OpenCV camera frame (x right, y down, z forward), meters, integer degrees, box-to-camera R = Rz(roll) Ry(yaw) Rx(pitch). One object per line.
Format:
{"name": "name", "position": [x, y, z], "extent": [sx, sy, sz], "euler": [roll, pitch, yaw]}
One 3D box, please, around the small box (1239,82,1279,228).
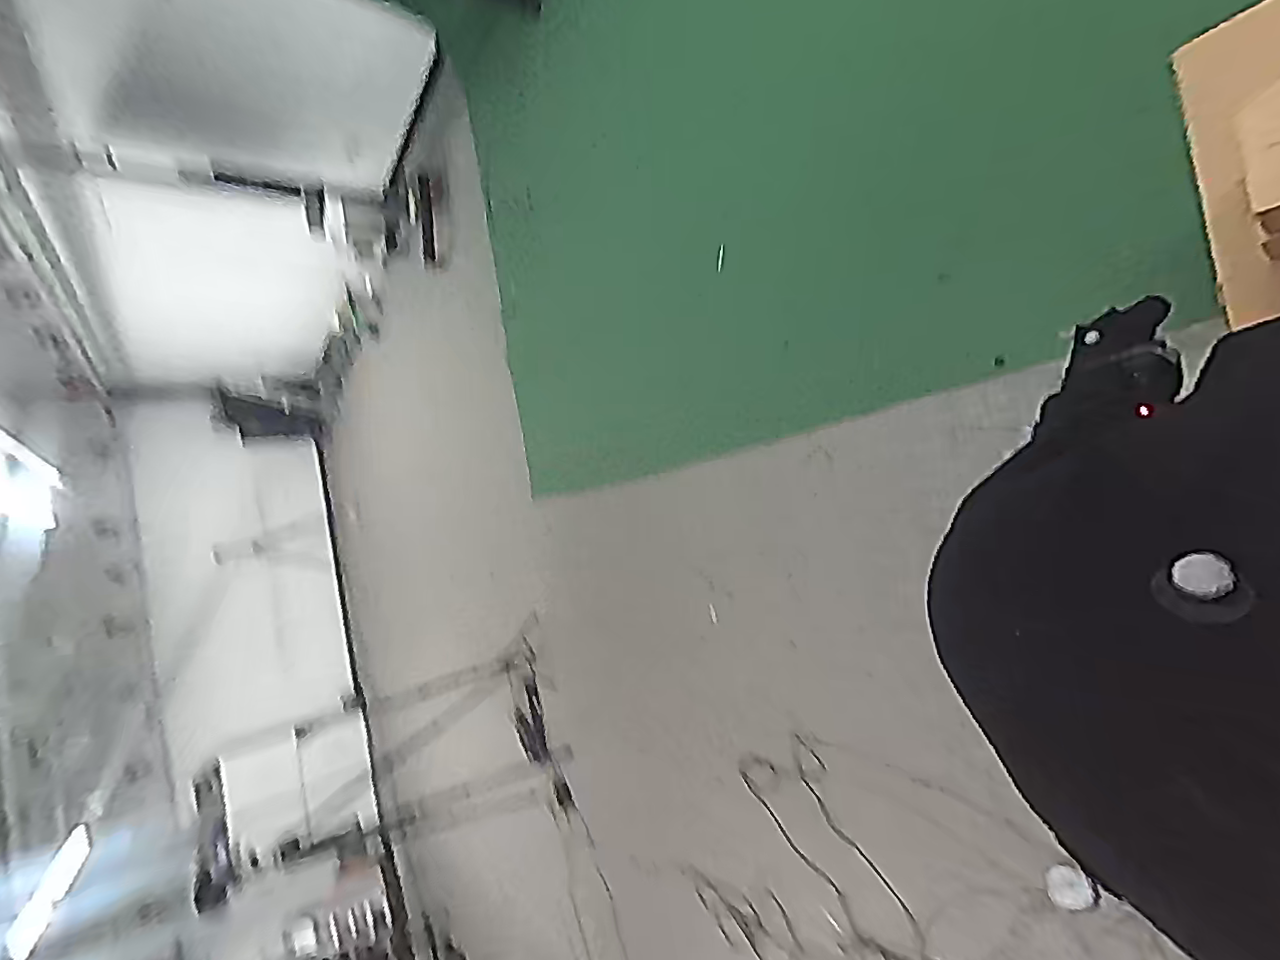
{"name": "small box", "position": [0.964, -0.469, 0.735], "extent": [0.179, 0.176, 0.168], "euler": [-9, 89, 55]}
